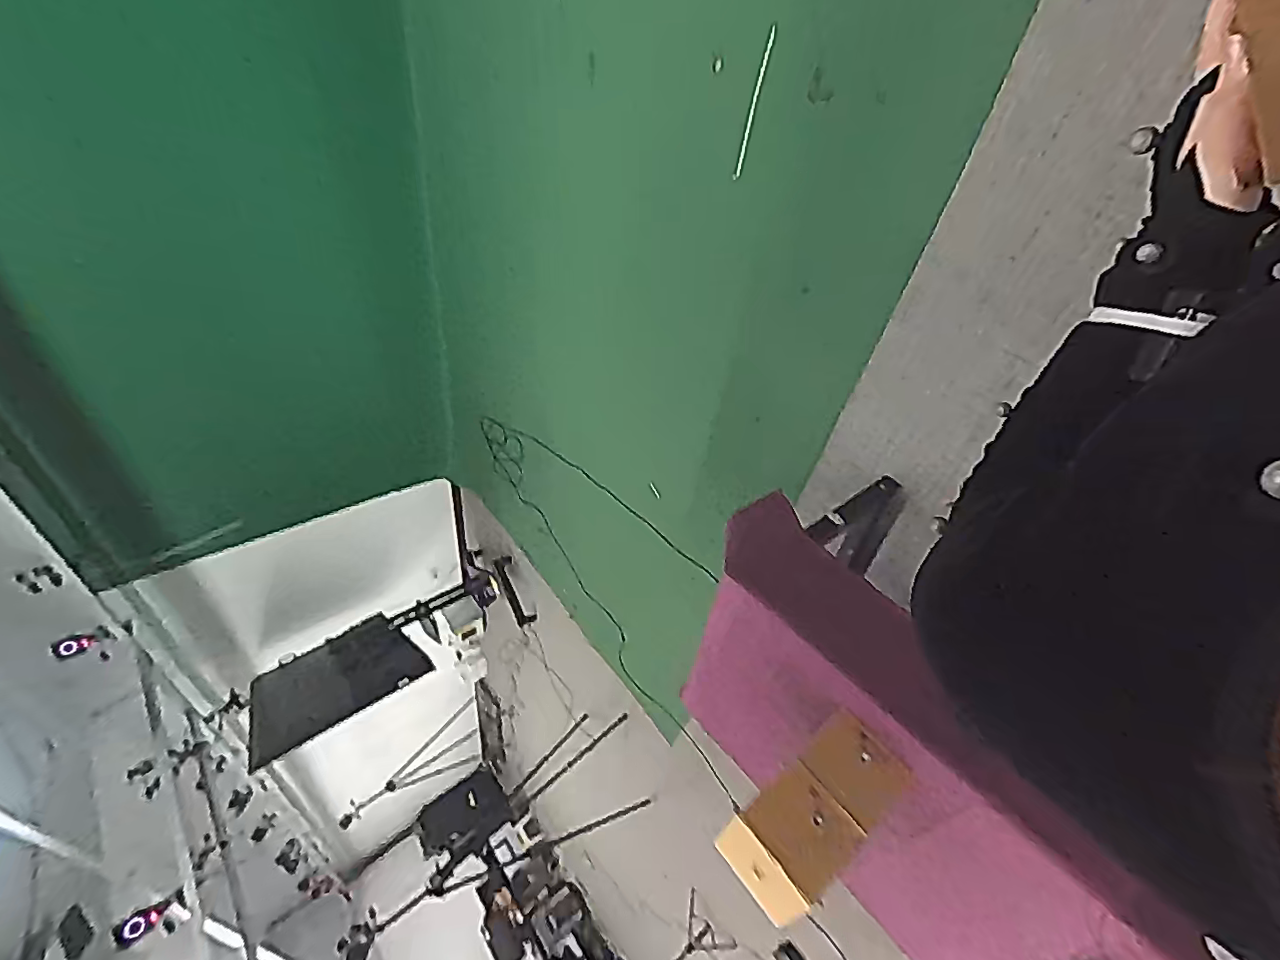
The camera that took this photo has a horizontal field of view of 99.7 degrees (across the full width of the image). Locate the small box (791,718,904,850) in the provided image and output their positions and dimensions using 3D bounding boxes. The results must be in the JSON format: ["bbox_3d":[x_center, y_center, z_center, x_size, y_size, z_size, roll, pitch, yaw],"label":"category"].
[{"bbox_3d":[0.389,0.619,1.079,0.168,0.176,0.179,42,139,30],"label":"small box"}]

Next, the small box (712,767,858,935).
[{"bbox_3d":[0.264,0.672,0.990,0.168,0.176,0.179,43,139,31],"label":"small box"}]
